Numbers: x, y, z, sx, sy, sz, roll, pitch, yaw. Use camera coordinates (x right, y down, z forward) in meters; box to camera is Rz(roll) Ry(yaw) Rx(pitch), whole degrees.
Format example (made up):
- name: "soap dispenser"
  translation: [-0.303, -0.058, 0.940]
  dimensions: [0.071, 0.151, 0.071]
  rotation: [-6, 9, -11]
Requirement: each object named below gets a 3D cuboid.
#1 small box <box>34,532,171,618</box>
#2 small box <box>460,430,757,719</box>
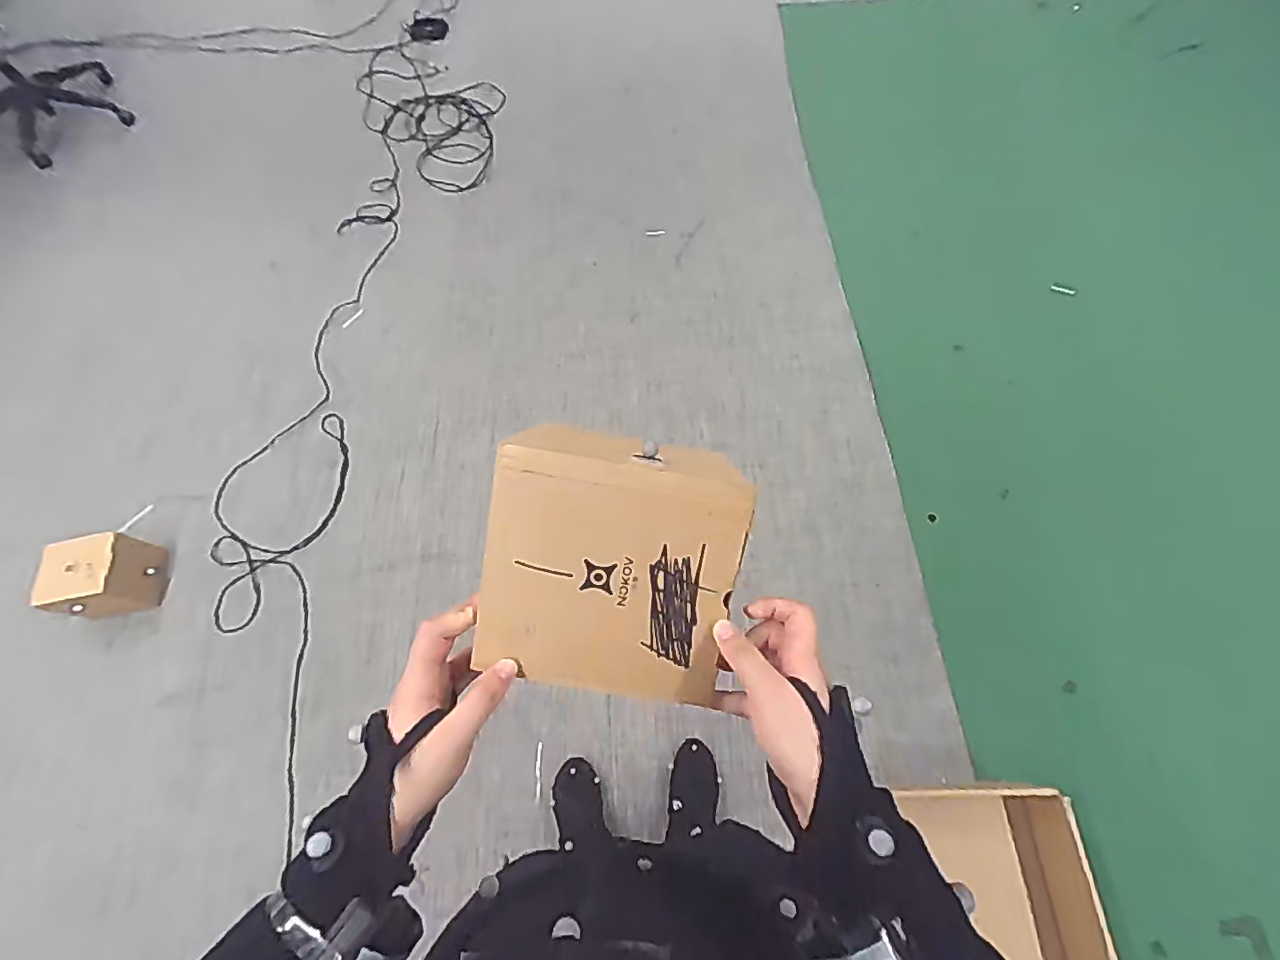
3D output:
- name: "small box"
  translation: [-1.404, 0.255, 1.424]
  dimensions: [0.179, 0.176, 0.168]
  rotation: [-12, 66, -3]
- name: "small box"
  translation: [-0.023, 0.058, 0.435]
  dimensions: [0.179, 0.176, 0.168]
  rotation: [10, 101, -1]
